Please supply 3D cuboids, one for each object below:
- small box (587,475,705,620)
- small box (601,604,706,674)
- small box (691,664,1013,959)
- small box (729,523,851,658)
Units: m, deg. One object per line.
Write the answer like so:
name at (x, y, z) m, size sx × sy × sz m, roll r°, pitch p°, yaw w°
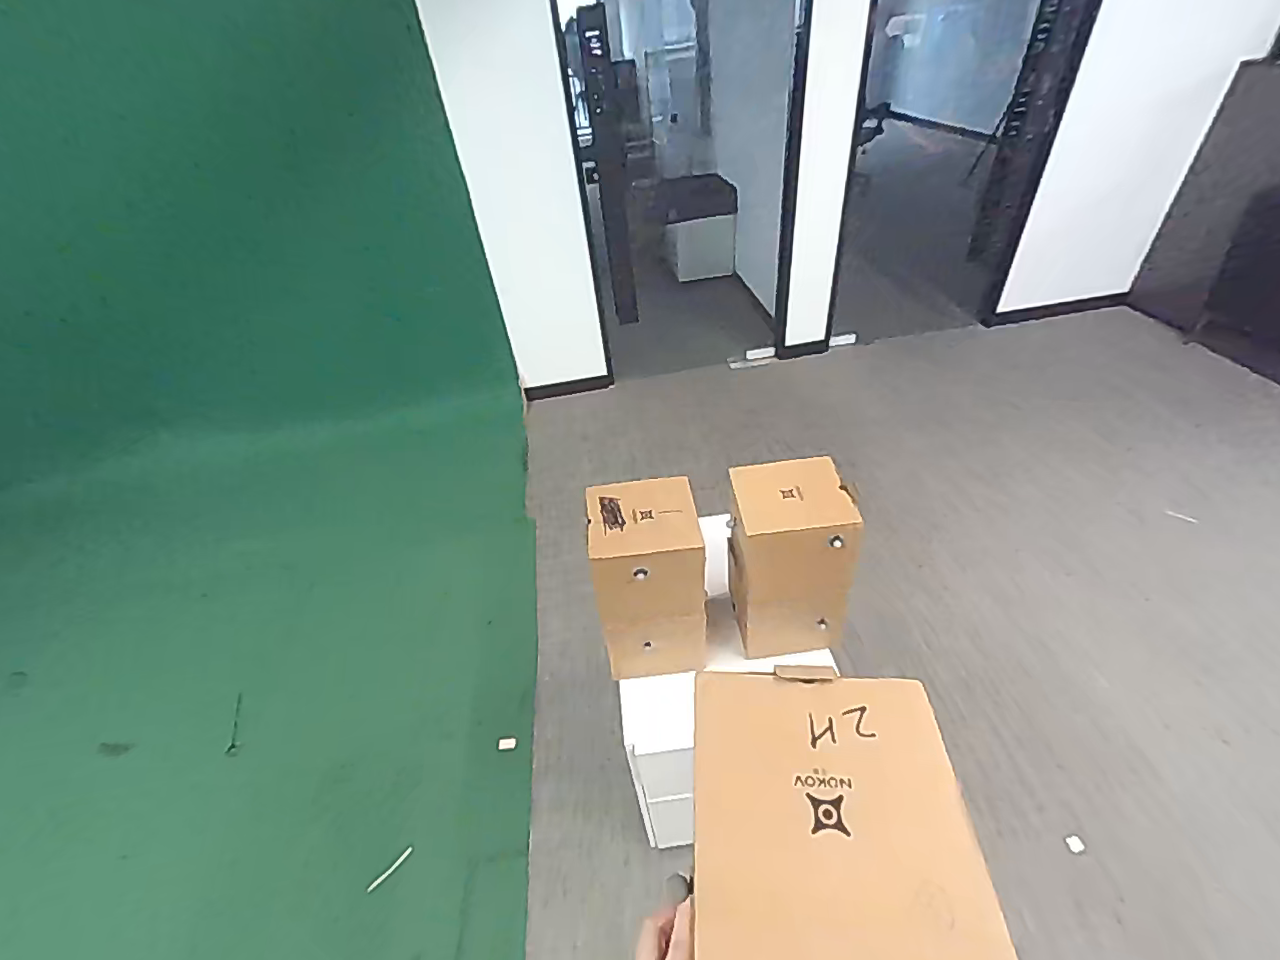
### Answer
small box at (0.010, 0.114, 0.897) m, size 0.179 × 0.176 × 0.168 m, roll -6°, pitch 41°, yaw -2°
small box at (0.024, 0.241, 1.001) m, size 0.179 × 0.176 × 0.168 m, roll -7°, pitch 41°, yaw -1°
small box at (0.122, 0.258, 0.389) m, size 0.168 × 0.176 × 0.179 m, roll 1°, pitch 40°, yaw 6°
small box at (0.268, 0.207, 1.008) m, size 0.179 × 0.176 × 0.168 m, roll -10°, pitch 39°, yaw 0°
